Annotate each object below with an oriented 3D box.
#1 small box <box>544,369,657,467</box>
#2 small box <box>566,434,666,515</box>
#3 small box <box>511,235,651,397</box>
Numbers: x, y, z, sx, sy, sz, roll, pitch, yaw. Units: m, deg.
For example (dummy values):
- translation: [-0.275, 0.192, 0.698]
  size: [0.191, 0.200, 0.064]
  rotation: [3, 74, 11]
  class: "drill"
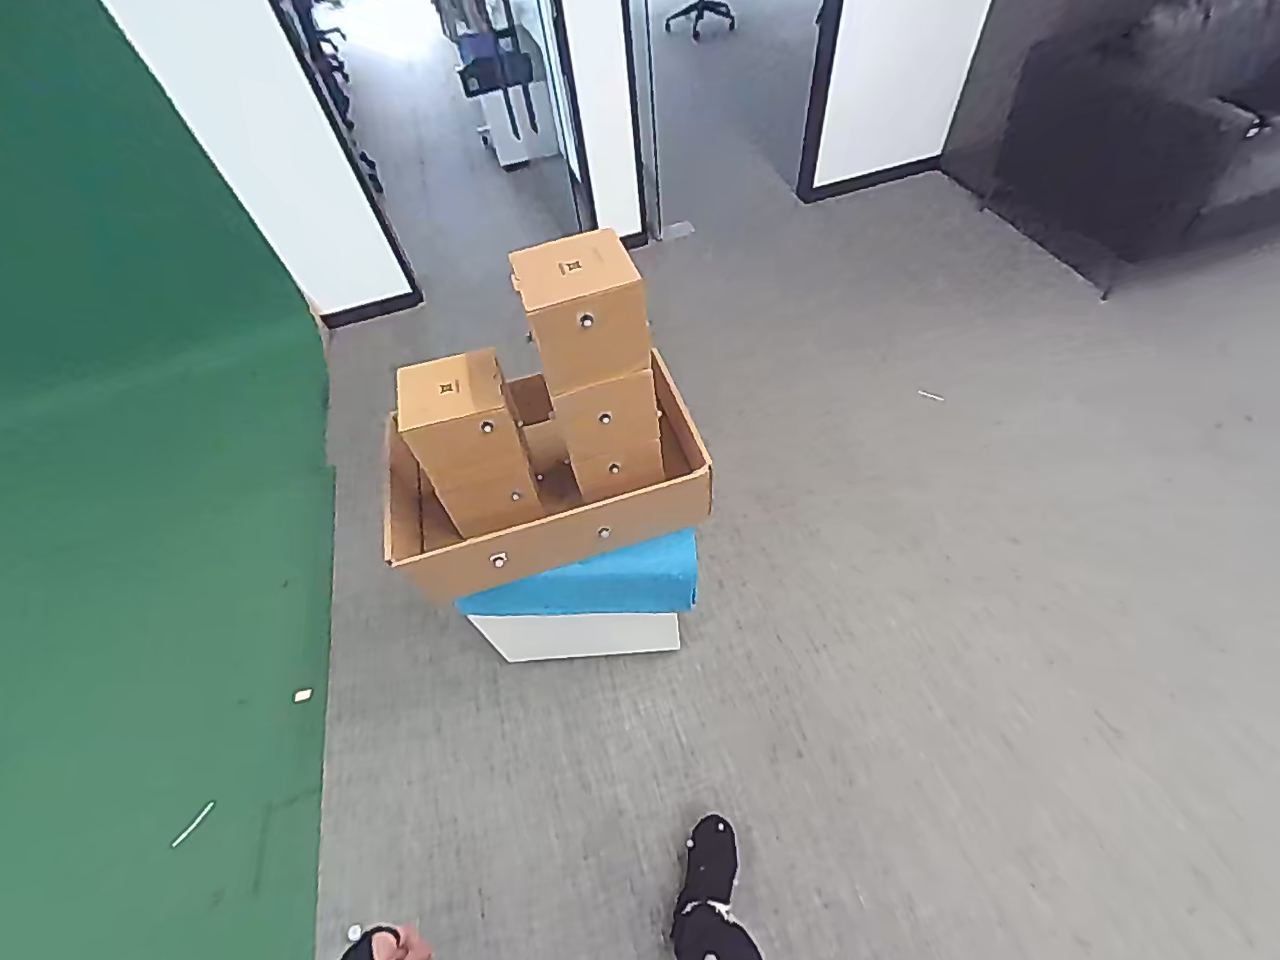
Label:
- translation: [-0.072, -0.153, 0.993]
  size: [0.179, 0.176, 0.168]
  rotation: [-18, 51, -4]
  class: "small box"
- translation: [-0.054, -0.050, 1.119]
  size: [0.179, 0.176, 0.168]
  rotation: [-16, 52, -4]
  class: "small box"
- translation: [-0.091, -0.259, 0.870]
  size: [0.179, 0.176, 0.168]
  rotation: [-17, 52, -5]
  class: "small box"
